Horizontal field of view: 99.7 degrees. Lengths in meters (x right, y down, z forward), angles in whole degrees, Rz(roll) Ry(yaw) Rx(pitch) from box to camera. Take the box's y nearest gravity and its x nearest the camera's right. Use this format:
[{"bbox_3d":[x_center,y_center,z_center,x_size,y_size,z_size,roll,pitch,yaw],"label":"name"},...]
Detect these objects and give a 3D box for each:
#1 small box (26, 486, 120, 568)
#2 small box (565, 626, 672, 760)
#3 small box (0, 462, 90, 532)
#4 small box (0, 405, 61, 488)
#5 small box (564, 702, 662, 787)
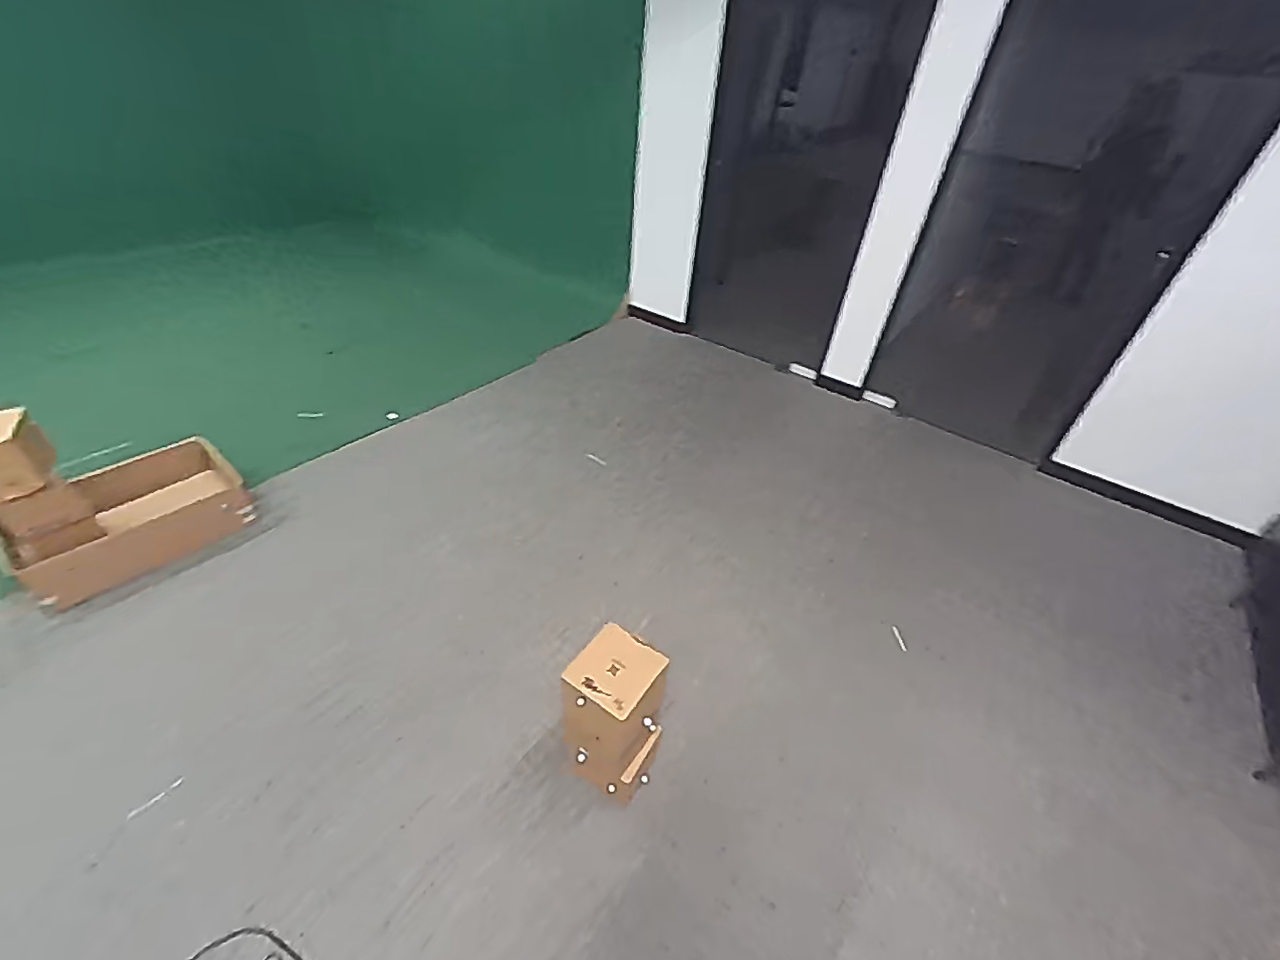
[{"bbox_3d":[-1.859,0.154,1.757,0.179,0.176,0.168,29,44,25],"label":"small box"},{"bbox_3d":[-0.053,0.468,1.193,0.168,0.176,0.179,27,43,25],"label":"small box"},{"bbox_3d":[-1.839,0.035,1.646,0.179,0.176,0.168,30,44,27],"label":"small box"},{"bbox_3d":[-1.817,-0.088,1.542,0.168,0.176,0.179,-15,43,-26],"label":"small box"},{"bbox_3d":[-0.068,0.589,1.303,0.168,0.176,0.179,27,45,25],"label":"small box"}]
